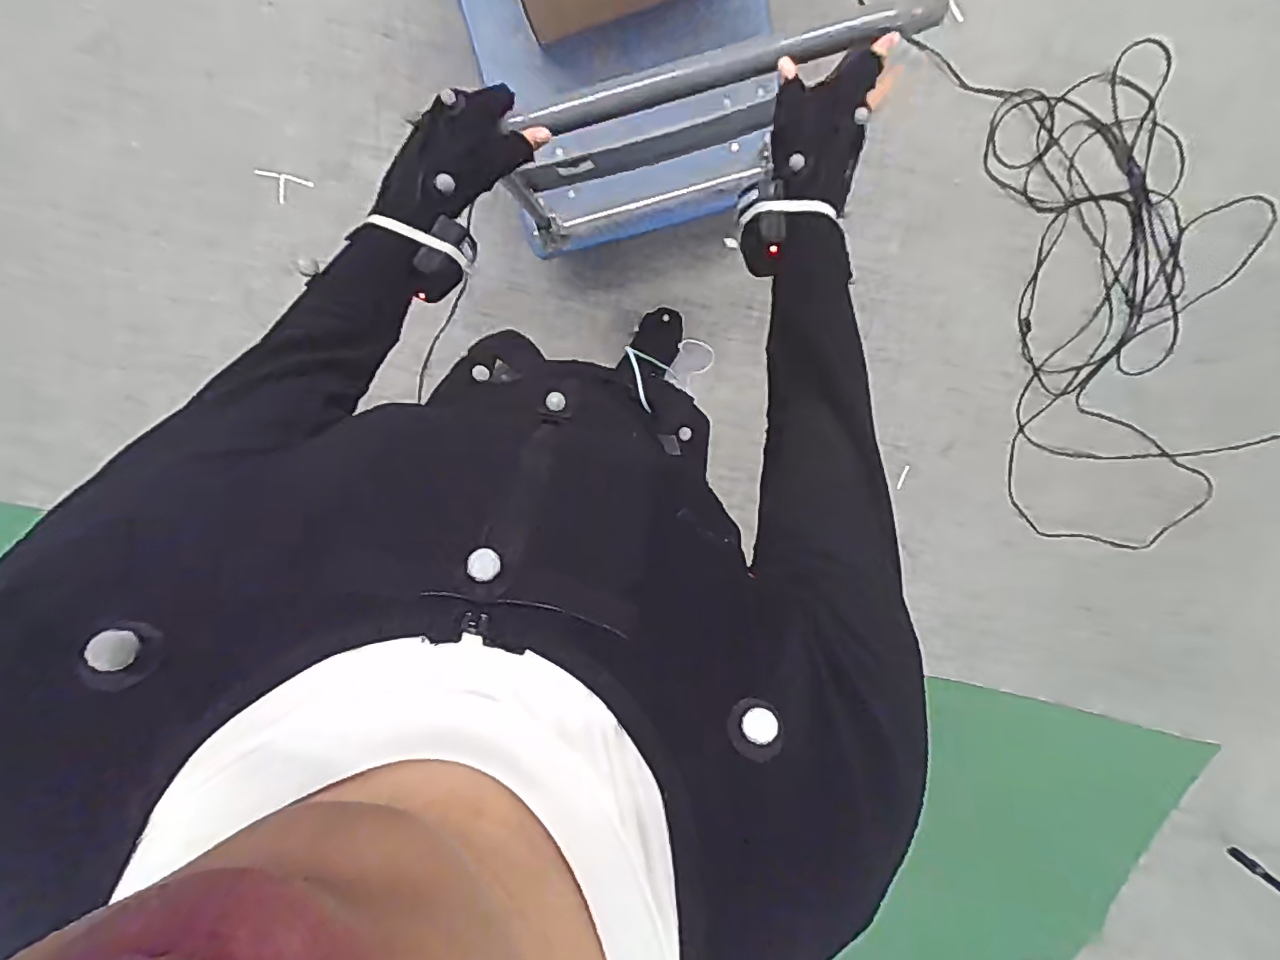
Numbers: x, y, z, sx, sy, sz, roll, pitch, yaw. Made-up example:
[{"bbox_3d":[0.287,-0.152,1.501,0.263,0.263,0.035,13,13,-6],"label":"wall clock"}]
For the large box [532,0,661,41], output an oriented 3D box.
[{"bbox_3d":[-0.034,-0.998,0.853,0.408,0.320,0.320,-16,107,5],"label":"large box"}]
